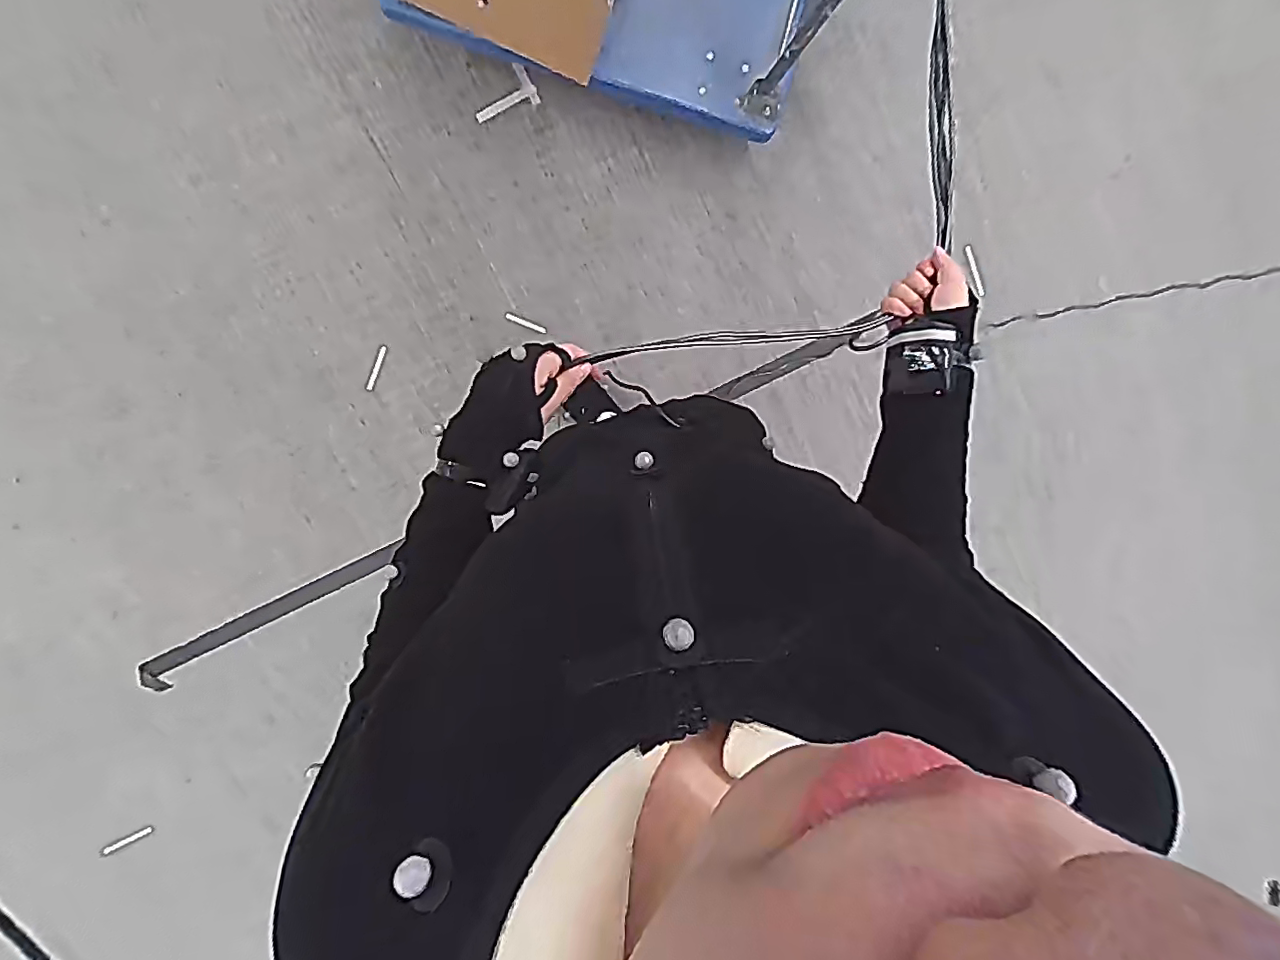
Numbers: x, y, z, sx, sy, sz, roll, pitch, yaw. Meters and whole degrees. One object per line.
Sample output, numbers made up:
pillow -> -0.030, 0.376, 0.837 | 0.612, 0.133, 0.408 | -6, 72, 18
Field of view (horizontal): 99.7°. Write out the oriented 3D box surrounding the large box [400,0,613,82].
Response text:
large box -> -0.231, -1.000, 0.940 | 0.408, 0.320, 0.320 | 19, 98, -8
